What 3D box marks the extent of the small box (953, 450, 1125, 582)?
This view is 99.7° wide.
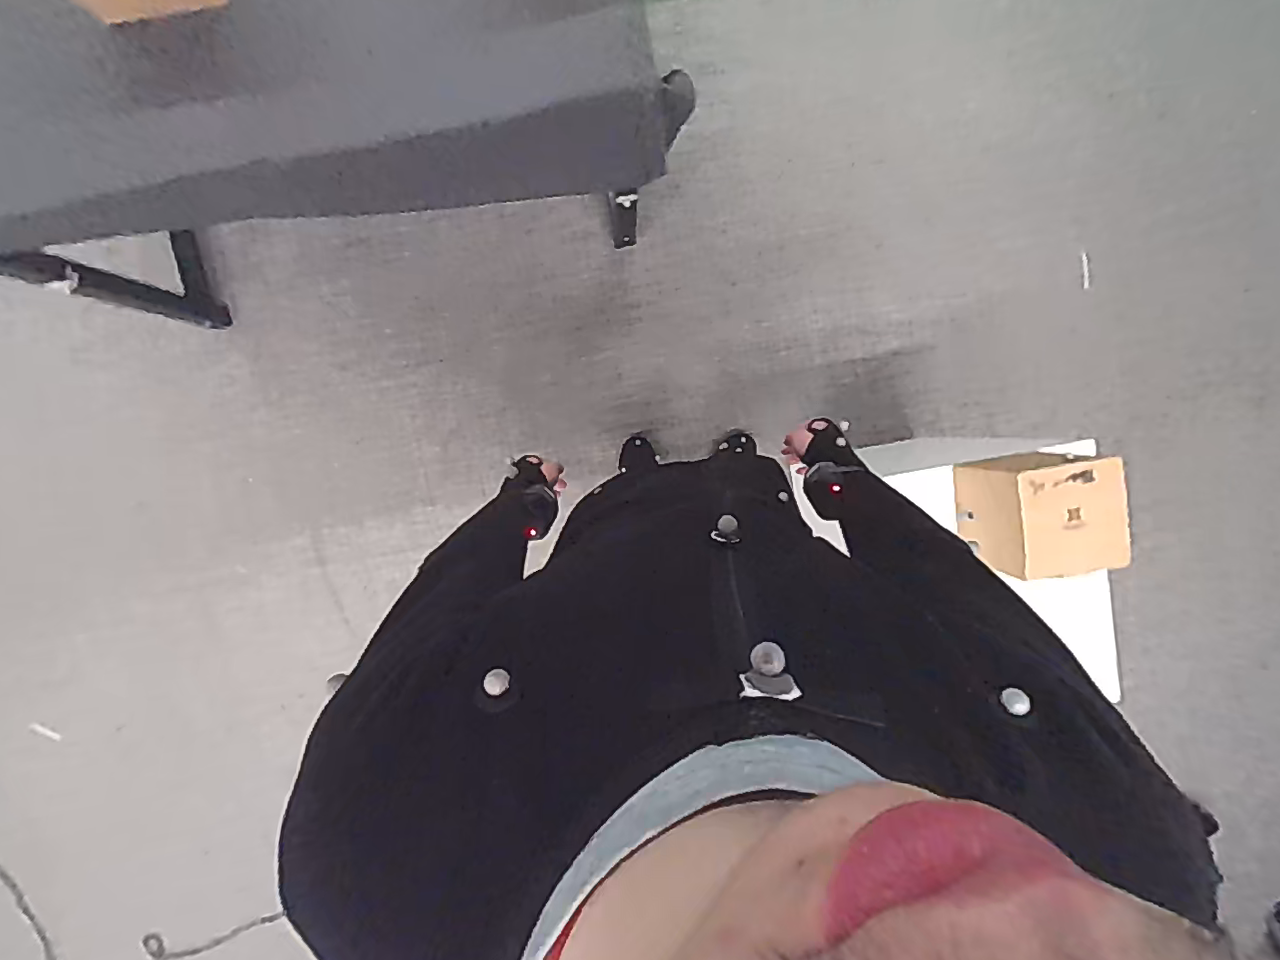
[{"bbox_3d":[0.653,0.052,0.902,0.168,0.176,0.179,-9,97,-1],"label":"small box"}]

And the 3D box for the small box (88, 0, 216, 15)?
[{"bbox_3d":[-0.661,-0.717,0.658,0.179,0.176,0.168,-11,96,-2],"label":"small box"}]
